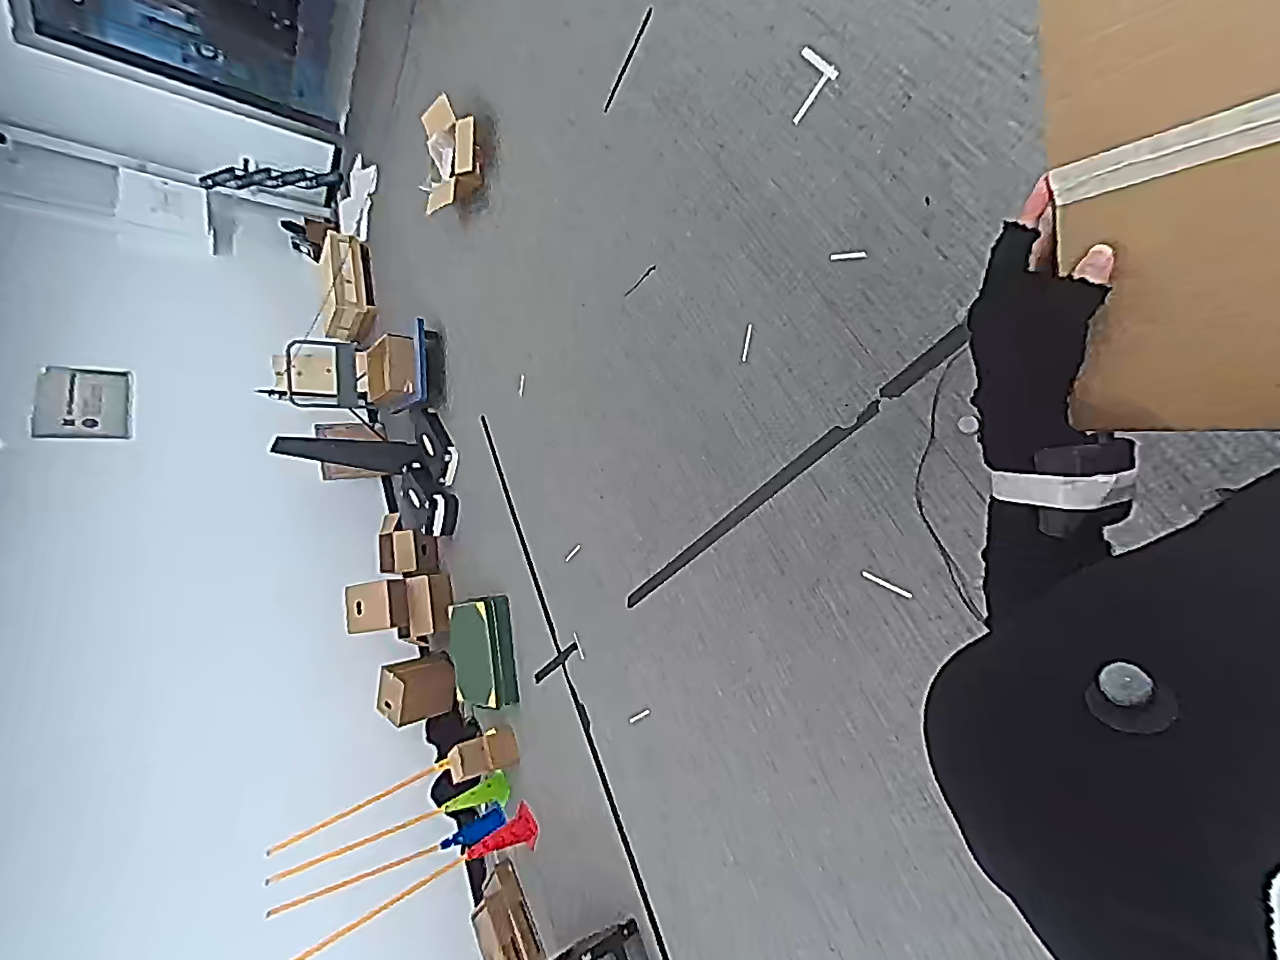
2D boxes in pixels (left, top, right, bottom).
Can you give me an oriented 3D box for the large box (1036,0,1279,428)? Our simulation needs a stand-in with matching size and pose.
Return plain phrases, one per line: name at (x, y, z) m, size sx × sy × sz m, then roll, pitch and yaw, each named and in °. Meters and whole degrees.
large box at (0.486, -0.223, 0.257) m, size 0.408 × 0.320 × 0.320 m, roll 7°, pitch 119°, yaw 54°
